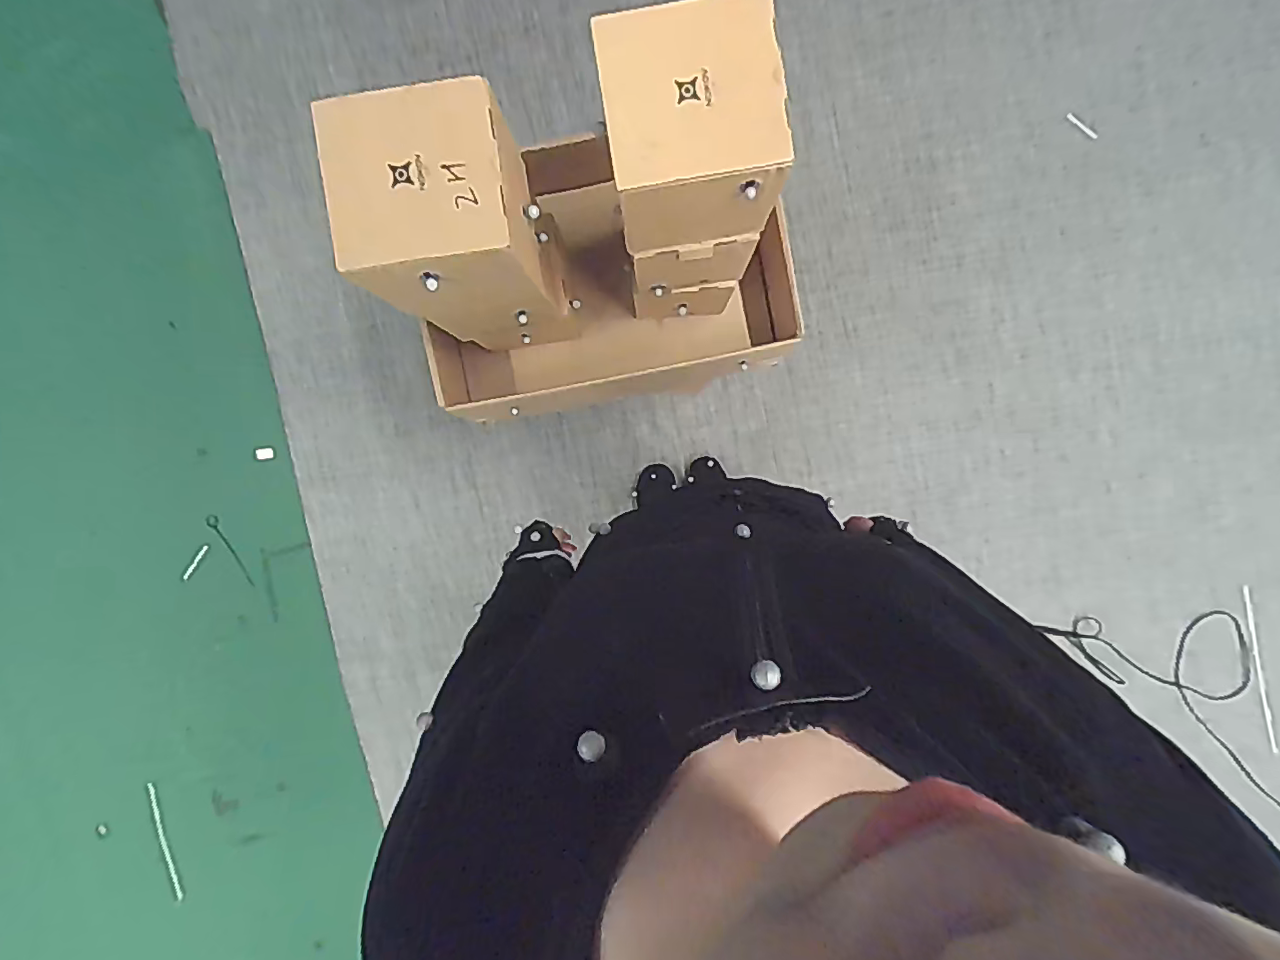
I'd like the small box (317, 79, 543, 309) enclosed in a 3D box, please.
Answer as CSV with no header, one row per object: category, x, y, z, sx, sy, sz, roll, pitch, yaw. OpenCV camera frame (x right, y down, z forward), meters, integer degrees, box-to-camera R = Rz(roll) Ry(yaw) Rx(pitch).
small box,-0.221,-0.303,0.612,0.179,0.176,0.168,-7,93,2

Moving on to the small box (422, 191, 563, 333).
small box,-0.215,-0.320,0.776,0.168,0.176,0.179,-10,92,2

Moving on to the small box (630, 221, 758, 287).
small box,0.064,-0.385,0.760,0.168,0.176,0.179,-8,92,3

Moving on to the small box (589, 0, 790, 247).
small box,0.051,-0.377,0.597,0.179,0.176,0.168,-9,92,2
